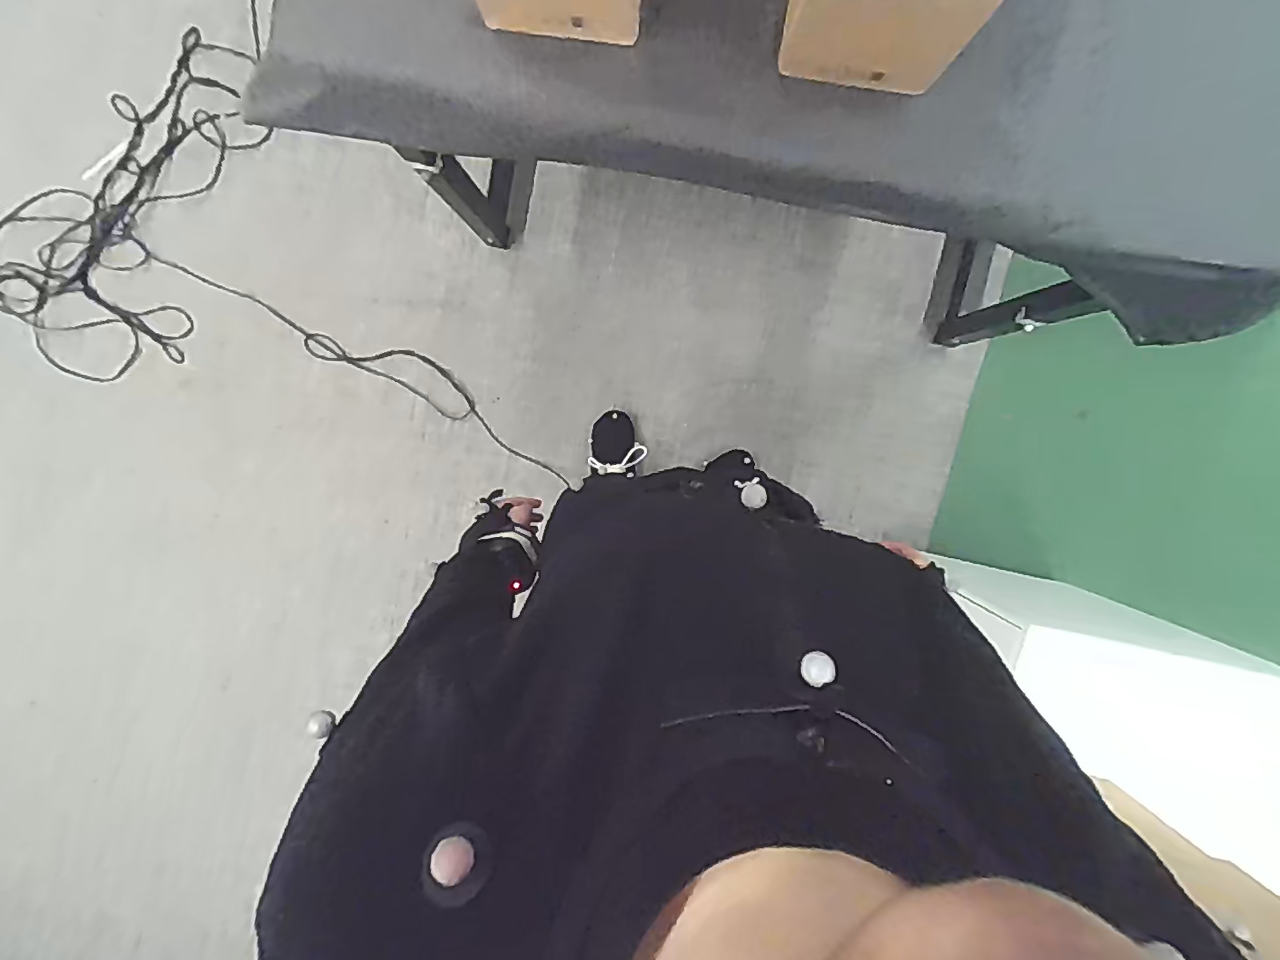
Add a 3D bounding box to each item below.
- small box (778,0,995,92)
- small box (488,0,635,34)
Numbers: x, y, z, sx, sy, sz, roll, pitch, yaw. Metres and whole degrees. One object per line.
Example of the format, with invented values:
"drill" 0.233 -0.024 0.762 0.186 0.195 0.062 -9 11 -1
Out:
"small box" 0.239 -0.514 0.503 0.168 0.176 0.179 9 96 -1
"small box" -0.081 -0.565 0.499 0.168 0.176 0.179 7 96 0
